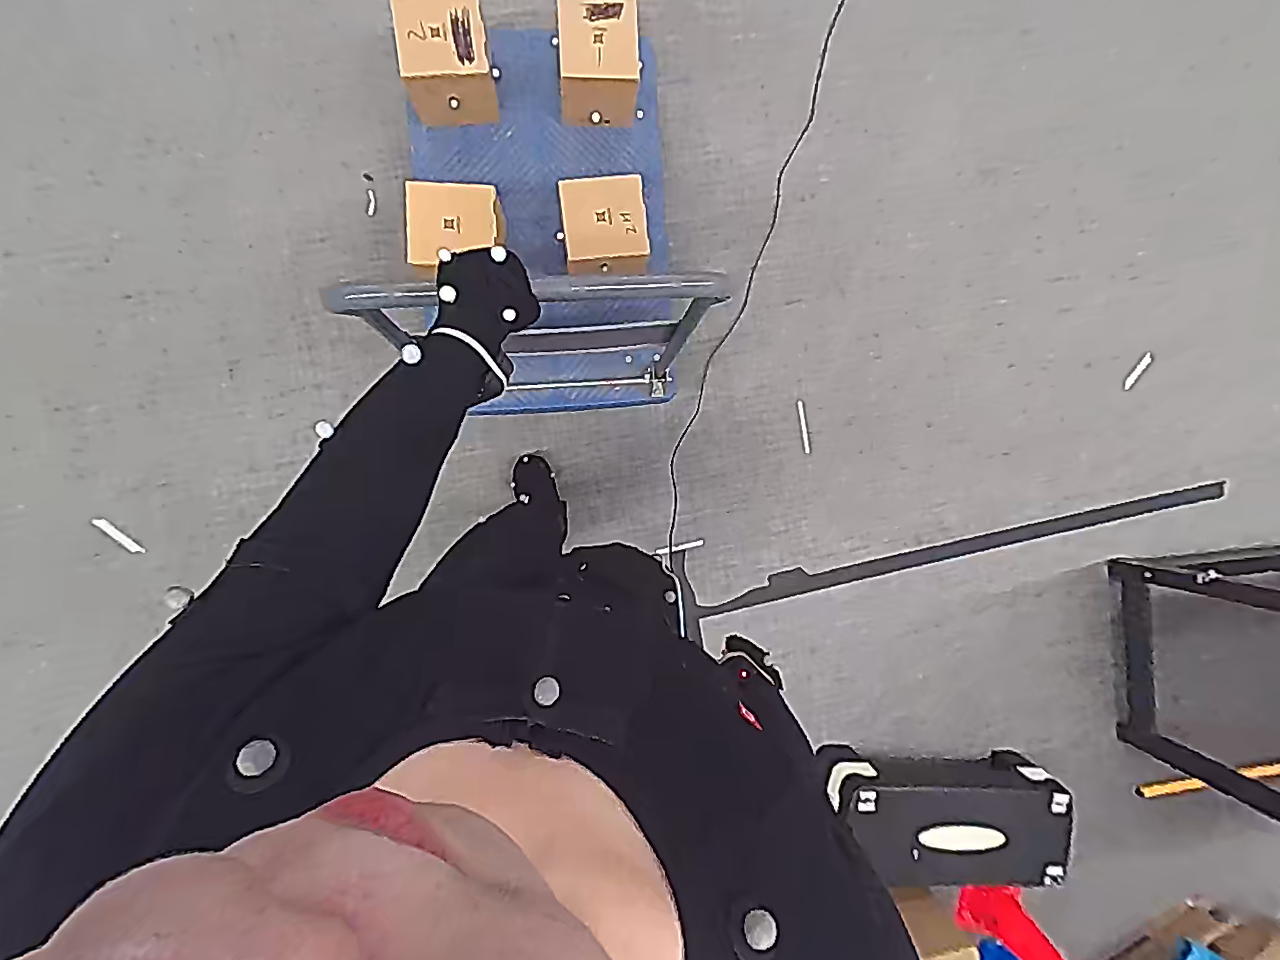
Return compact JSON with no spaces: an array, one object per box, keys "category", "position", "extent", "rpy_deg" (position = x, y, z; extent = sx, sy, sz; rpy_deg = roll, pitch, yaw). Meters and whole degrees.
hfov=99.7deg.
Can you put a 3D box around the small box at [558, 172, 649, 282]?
[{"category":"small box","position":[-0.082,-0.552,1.198],"extent":[0.179,0.176,0.168],"rpy_deg":[-8,93,-6]}]

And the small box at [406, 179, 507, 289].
[{"category":"small box","position":[-0.388,-0.521,1.165],"extent":[0.179,0.176,0.168],"rpy_deg":[-2,92,-8]}]

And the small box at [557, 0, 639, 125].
[{"category":"small box","position":[-0.096,-0.921,1.184],"extent":[0.168,0.176,0.179],"rpy_deg":[-3,94,-6]}]
